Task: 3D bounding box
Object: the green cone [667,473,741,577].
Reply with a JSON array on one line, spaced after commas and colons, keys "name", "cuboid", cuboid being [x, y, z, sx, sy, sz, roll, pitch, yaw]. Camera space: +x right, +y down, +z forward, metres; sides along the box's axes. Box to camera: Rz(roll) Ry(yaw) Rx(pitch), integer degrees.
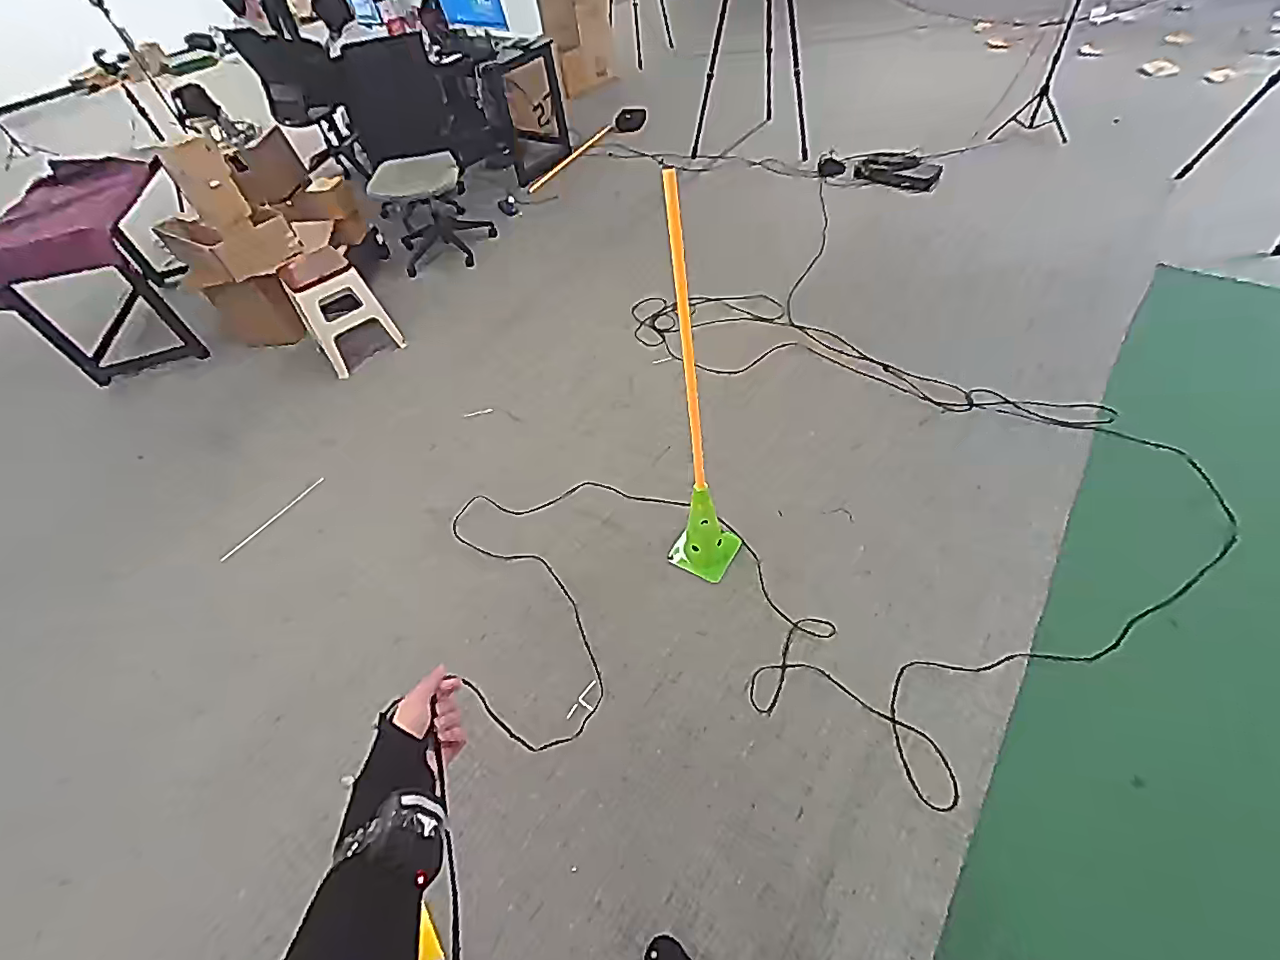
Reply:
[{"name": "green cone", "cuboid": [0.202, 0.112, 1.716, 0.200, 0.368, 0.202, 23, 56, 24]}]
